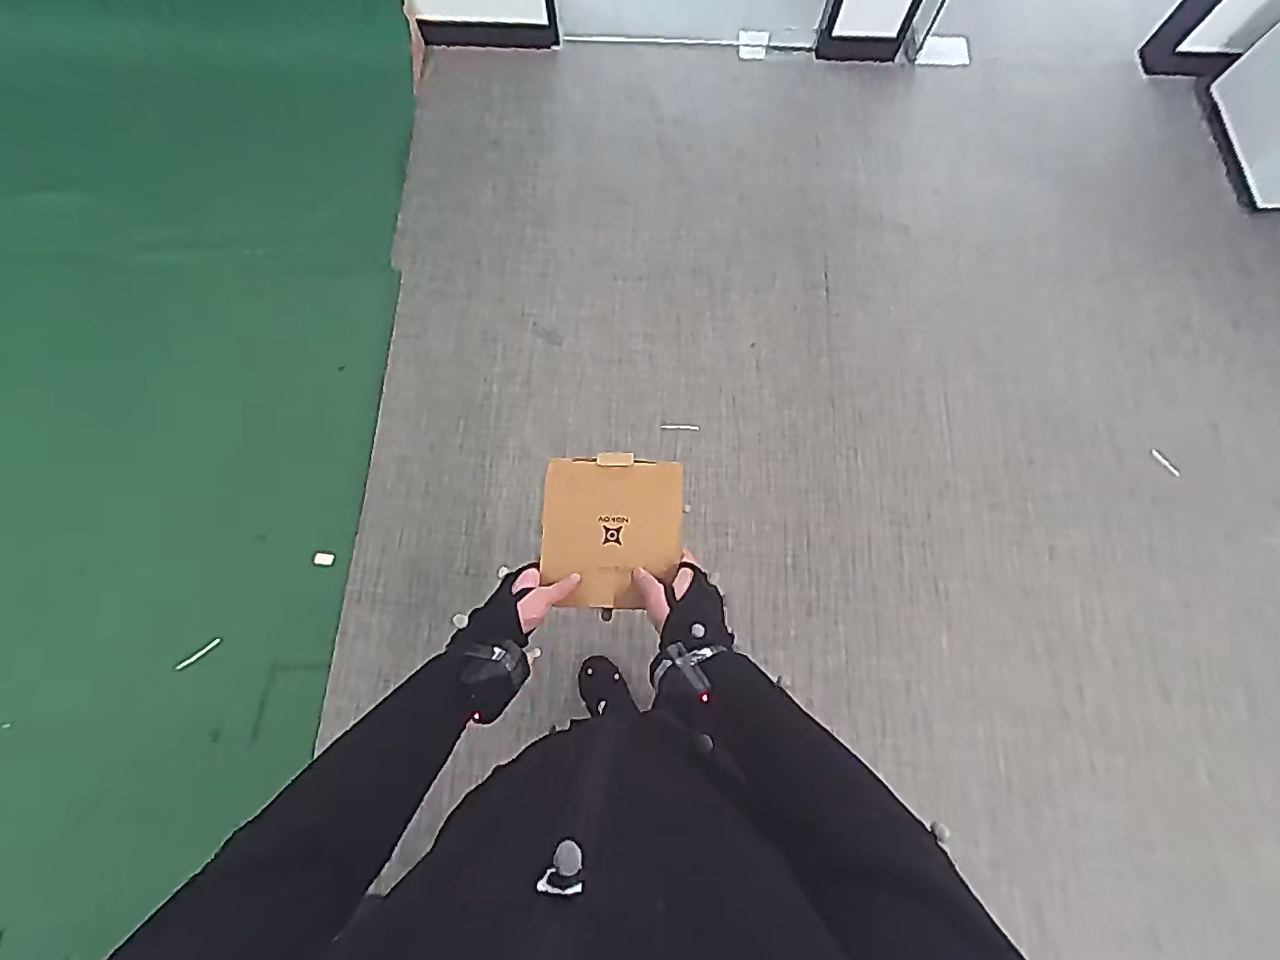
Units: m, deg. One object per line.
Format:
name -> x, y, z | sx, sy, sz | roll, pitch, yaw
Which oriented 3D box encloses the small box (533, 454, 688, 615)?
small box -> -0.030, 0.077, 0.693 | 0.168, 0.176, 0.179 | 3, 77, 3
